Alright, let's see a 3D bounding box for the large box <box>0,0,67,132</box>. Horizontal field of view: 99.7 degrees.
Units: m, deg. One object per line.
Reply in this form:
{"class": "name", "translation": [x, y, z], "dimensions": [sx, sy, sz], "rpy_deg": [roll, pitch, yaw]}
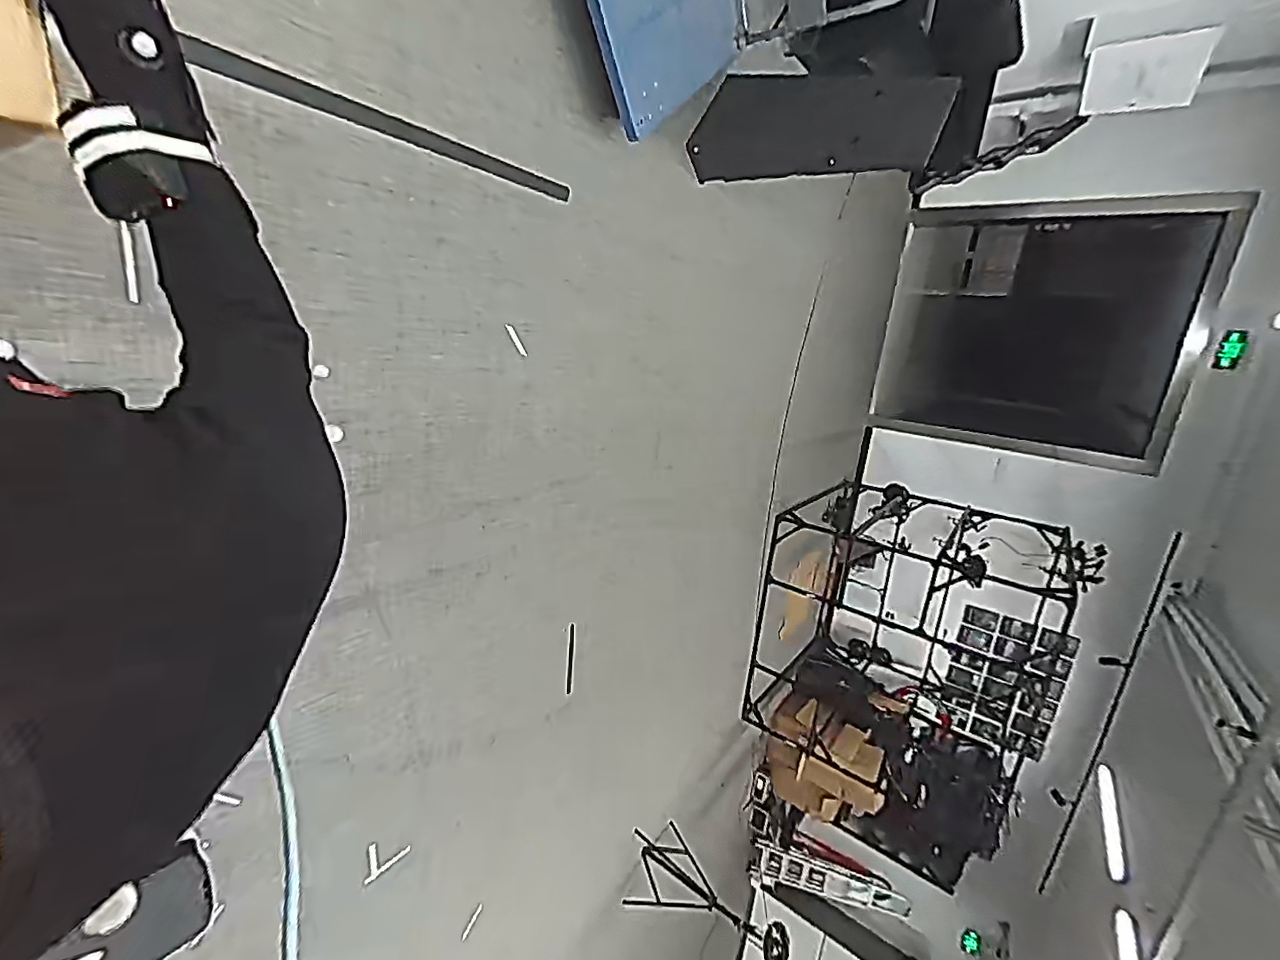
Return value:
{"class": "large box", "translation": [-0.624, -0.400, 0.255], "dimensions": [0.408, 0.320, 0.320], "rpy_deg": [-19, 121, -53]}
